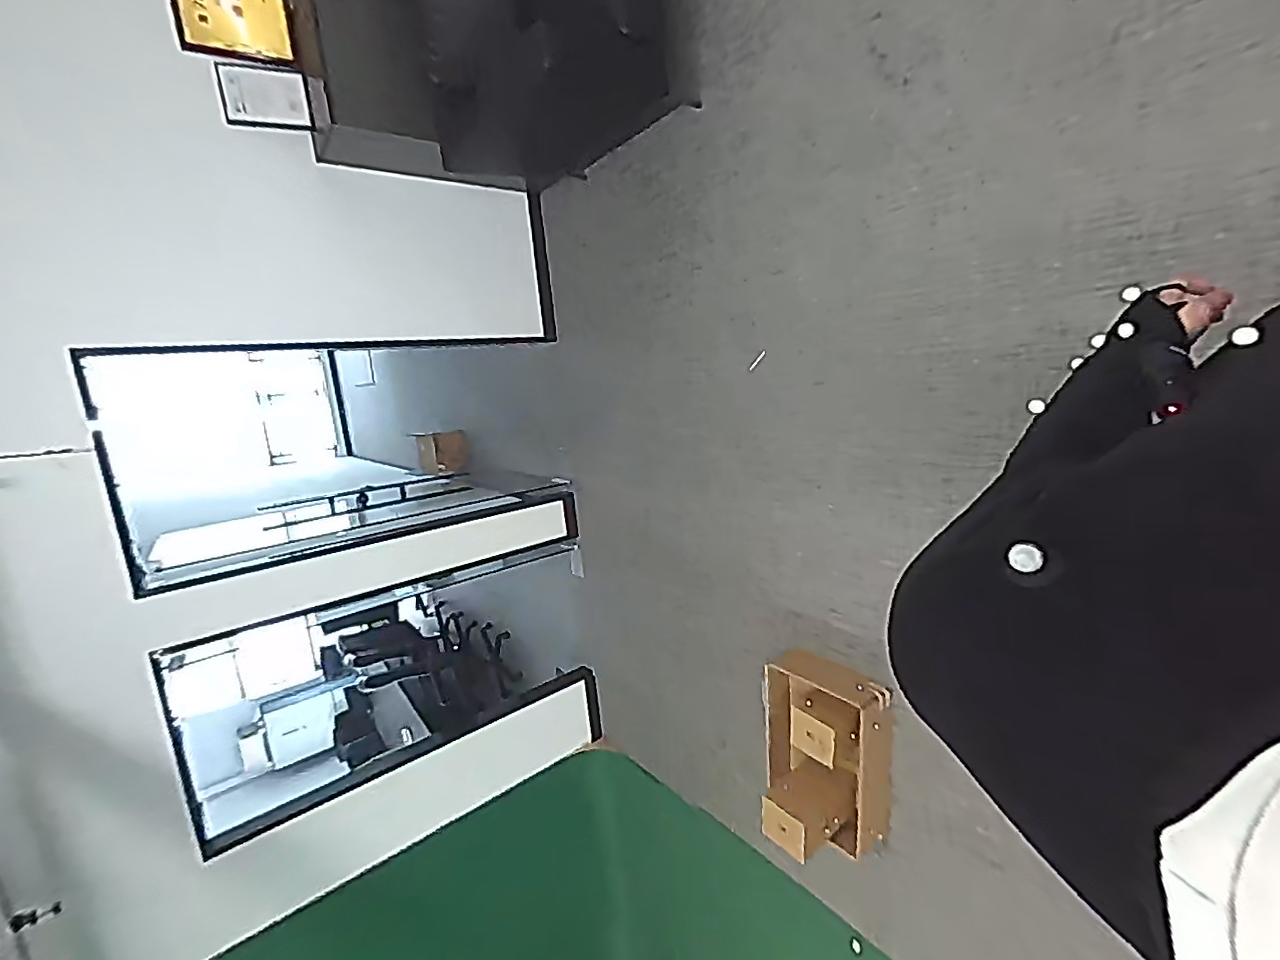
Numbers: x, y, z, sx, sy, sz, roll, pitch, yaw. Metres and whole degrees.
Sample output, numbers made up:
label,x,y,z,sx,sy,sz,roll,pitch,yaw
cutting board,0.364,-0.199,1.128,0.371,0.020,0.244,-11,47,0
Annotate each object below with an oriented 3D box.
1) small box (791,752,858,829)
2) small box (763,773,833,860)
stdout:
label,x,y,z,sx,sy,sz,roll,pitch,yaw
small box,0.684,1.150,2.016,0.179,0.176,0.168,14,112,50
small box,0.559,1.180,1.916,0.179,0.176,0.168,13,110,50
